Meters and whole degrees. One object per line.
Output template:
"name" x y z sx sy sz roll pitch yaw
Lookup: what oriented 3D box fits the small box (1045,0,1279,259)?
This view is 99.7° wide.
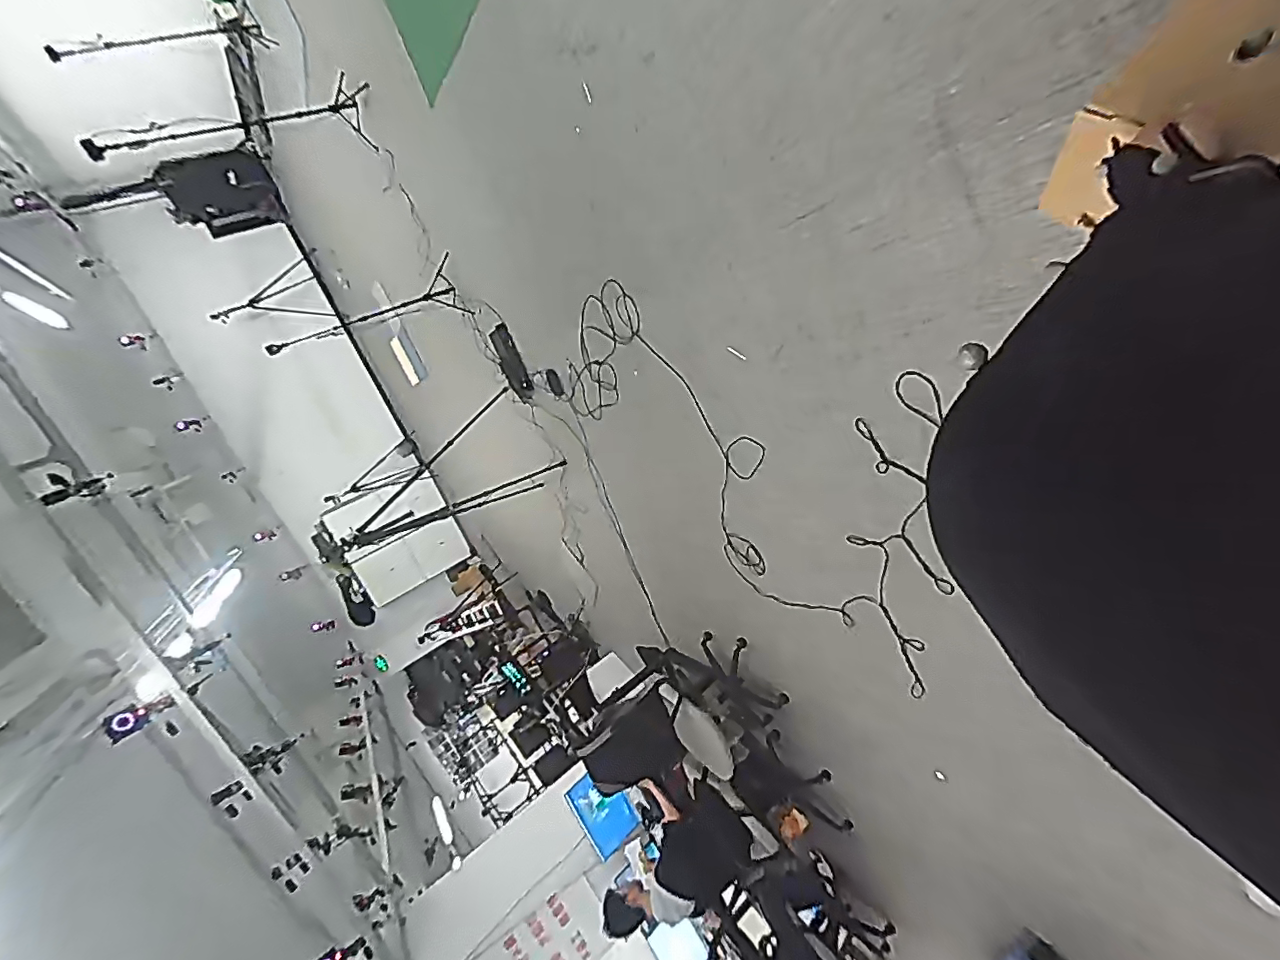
"small box" 0.571 -0.371 0.551 0.168 0.176 0.179 42 -169 25
